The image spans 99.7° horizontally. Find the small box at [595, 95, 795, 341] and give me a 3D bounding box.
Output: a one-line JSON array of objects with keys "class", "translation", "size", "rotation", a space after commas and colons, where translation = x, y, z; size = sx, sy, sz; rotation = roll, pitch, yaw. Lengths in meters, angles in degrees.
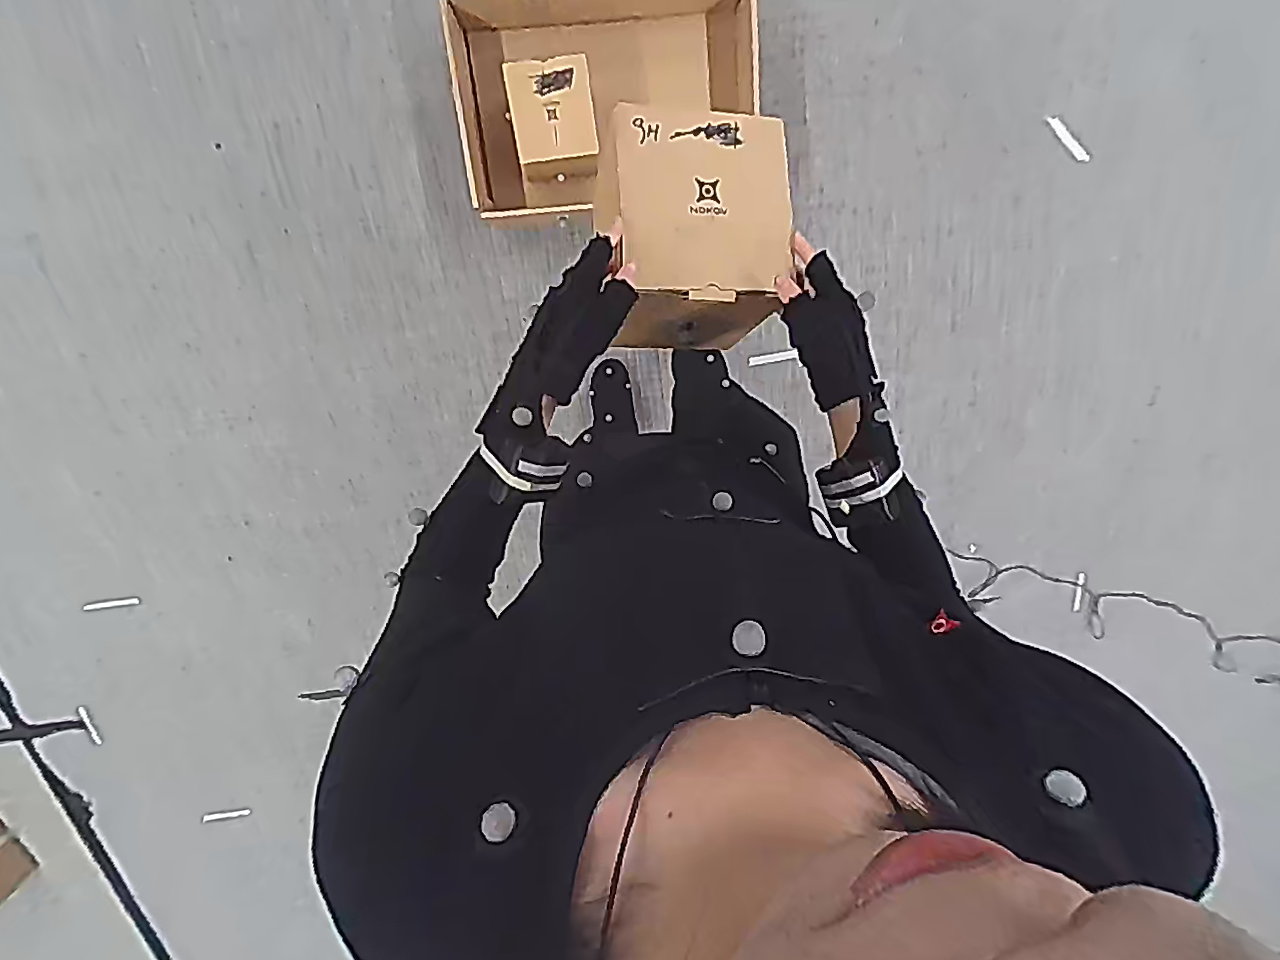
[{"class": "small box", "translation": [0.045, -0.253, 0.567], "size": [0.168, 0.176, 0.179], "rotation": [-2, 87, -12]}]

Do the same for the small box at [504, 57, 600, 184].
[{"class": "small box", "translation": [-0.181, -0.752, 1.146], "size": [0.168, 0.176, 0.179], "rotation": [-9, 108, -2]}]
